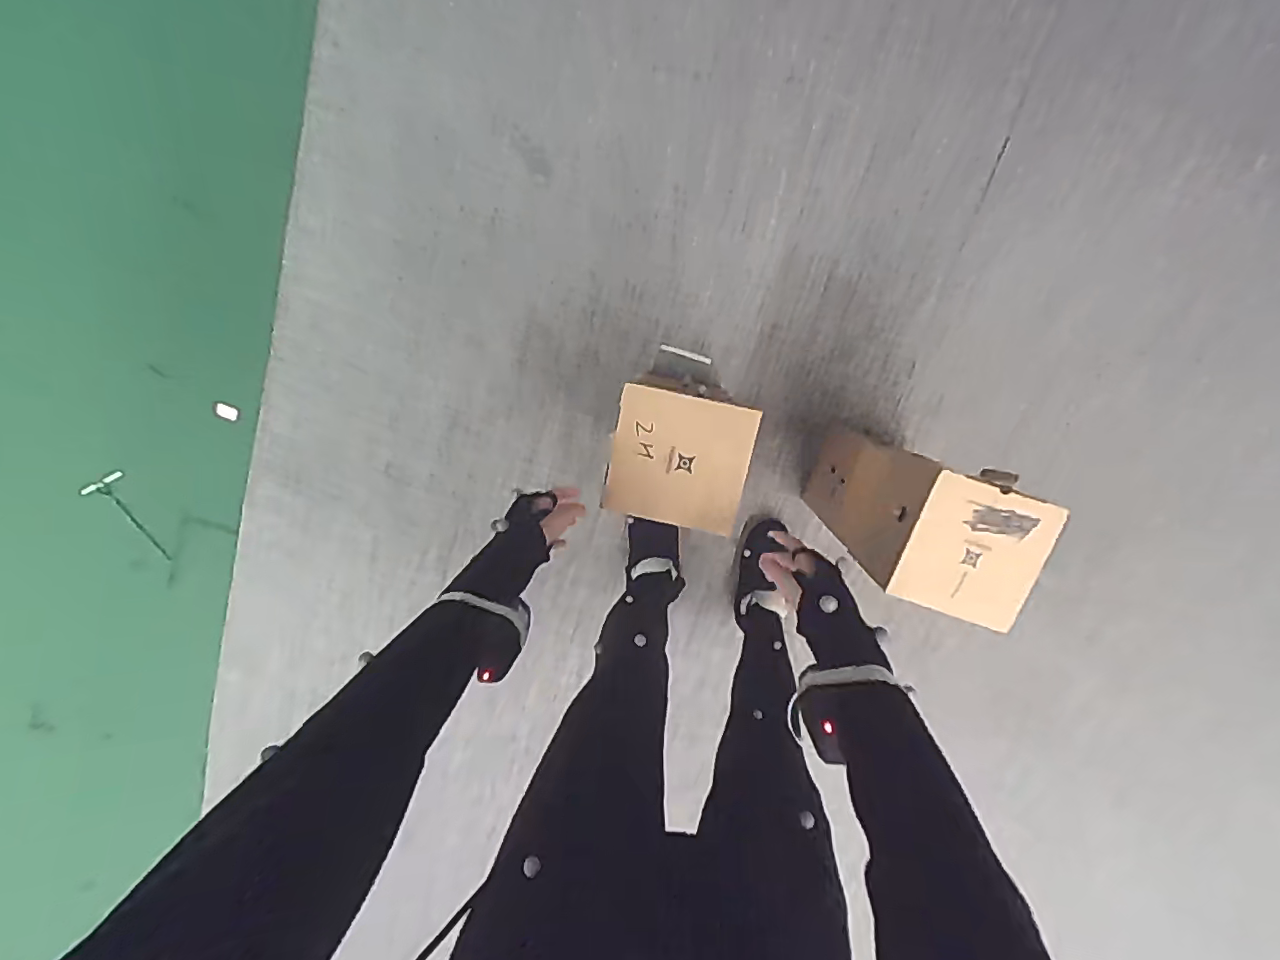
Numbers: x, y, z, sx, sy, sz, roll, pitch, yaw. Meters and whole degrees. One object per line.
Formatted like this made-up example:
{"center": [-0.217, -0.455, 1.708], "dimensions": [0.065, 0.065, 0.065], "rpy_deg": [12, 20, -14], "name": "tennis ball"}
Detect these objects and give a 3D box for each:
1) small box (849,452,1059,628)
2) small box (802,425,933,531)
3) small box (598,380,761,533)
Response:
{"center": [0.418, 0.070, 0.757], "dimensions": [0.168, 0.176, 0.179], "rpy_deg": [18, 102, 1], "name": "small box"}
{"center": [0.439, 0.003, 1.078], "dimensions": [0.168, 0.176, 0.179], "rpy_deg": [18, 102, -1], "name": "small box"}
{"center": [0.053, -0.043, 0.758], "dimensions": [0.179, 0.176, 0.168], "rpy_deg": [13, 101, 2], "name": "small box"}
